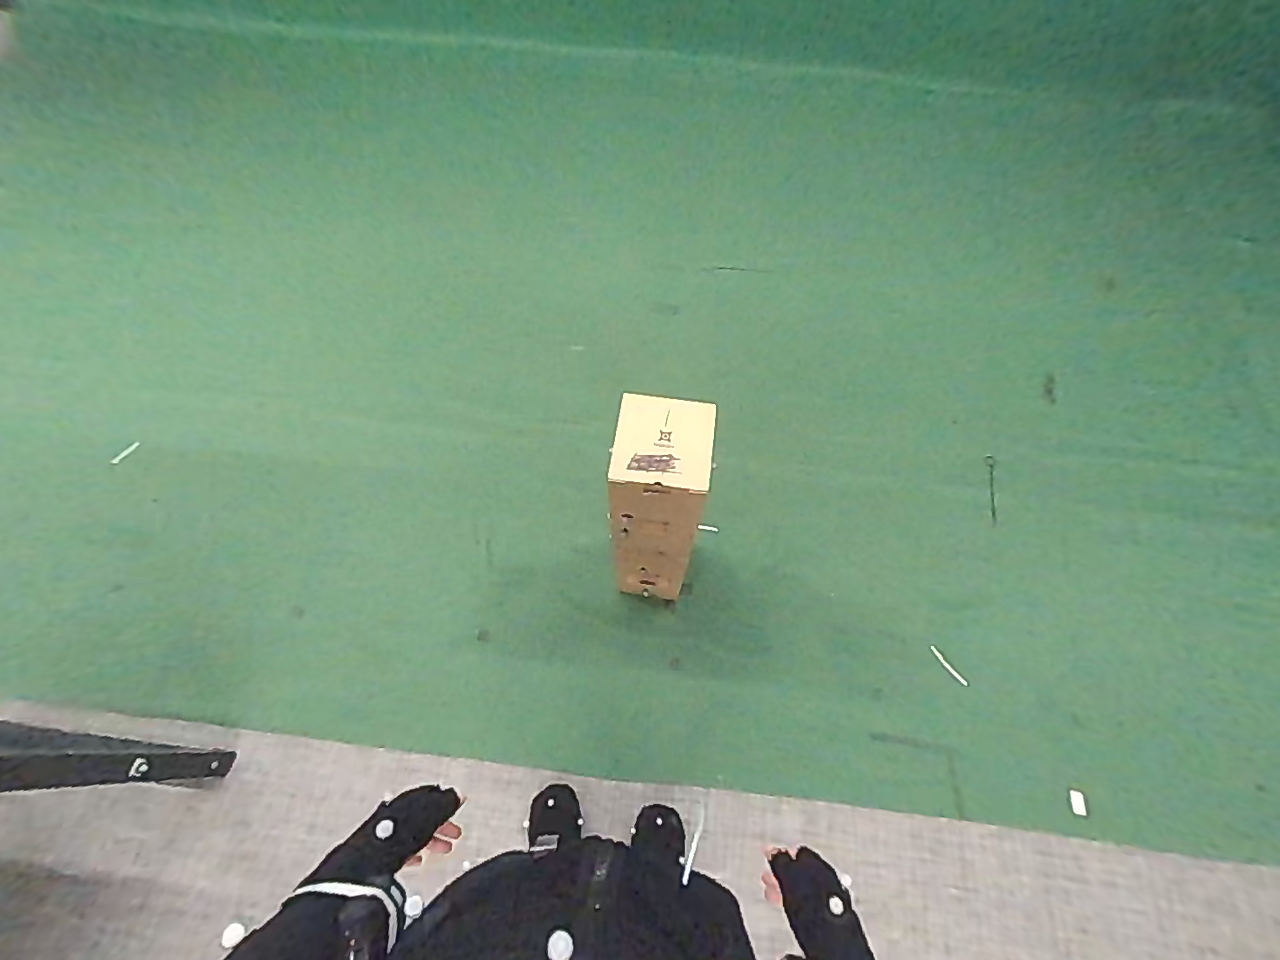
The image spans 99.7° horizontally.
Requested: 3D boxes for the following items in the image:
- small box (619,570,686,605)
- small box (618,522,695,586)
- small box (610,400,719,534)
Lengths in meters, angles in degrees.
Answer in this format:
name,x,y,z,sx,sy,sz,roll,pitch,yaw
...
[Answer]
name,x,y,z,sx,sy,sz,roll,pitch,yaw
small box,0.040,0.209,1.411,0.168,0.176,0.179,8,63,4
small box,0.040,0.133,1.267,0.168,0.176,0.179,7,63,3
small box,0.043,-0.017,0.974,0.168,0.176,0.179,8,62,3
